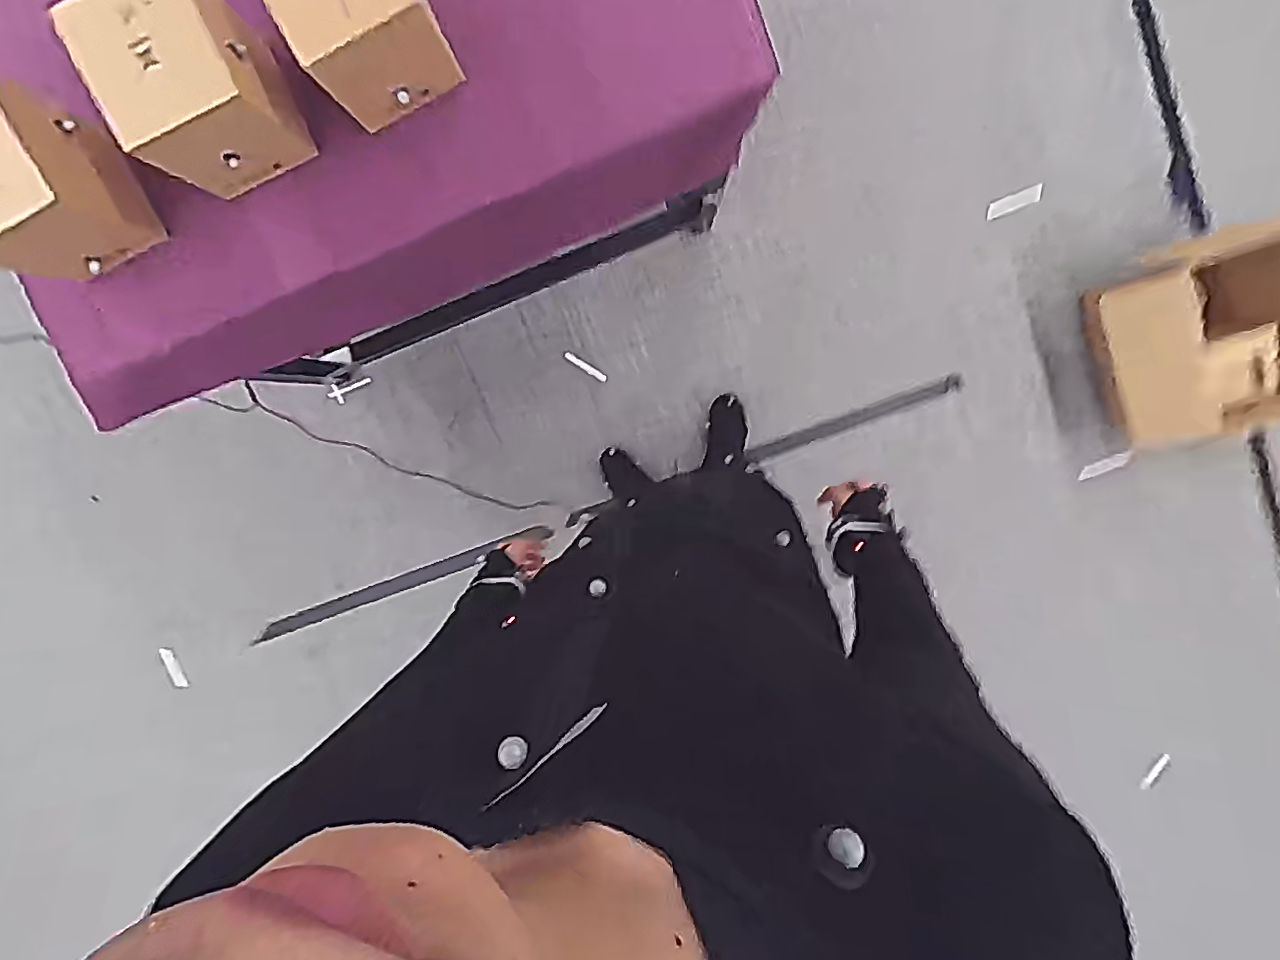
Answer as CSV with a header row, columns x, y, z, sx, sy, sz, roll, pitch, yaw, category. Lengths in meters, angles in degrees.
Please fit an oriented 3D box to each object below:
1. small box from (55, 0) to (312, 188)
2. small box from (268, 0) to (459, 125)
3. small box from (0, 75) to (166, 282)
x,y,z,sx,sy,sz,roll,pitch,yaw,category
-0.593,-0.528,0.732,0.168,0.176,0.179,-23,97,4,small box
-0.372,-0.624,0.714,0.168,0.176,0.179,-27,98,5,small box
-0.838,-0.406,0.755,0.168,0.176,0.179,-25,97,5,small box
